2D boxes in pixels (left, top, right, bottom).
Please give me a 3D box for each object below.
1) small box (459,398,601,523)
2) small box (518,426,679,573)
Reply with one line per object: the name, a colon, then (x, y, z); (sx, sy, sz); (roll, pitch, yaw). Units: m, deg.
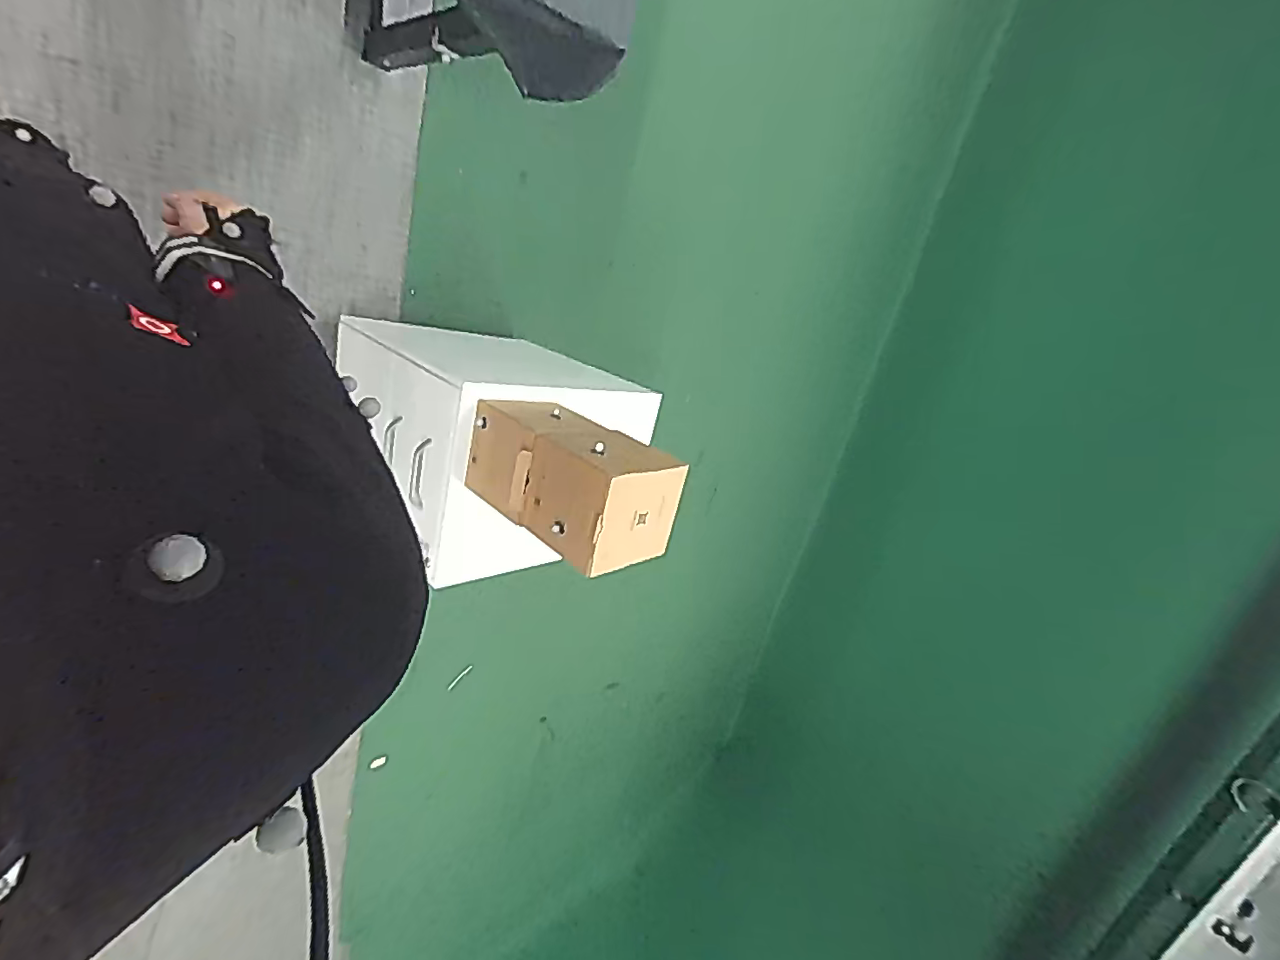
small box: (-0.194, -0.041, 0.951); (0.179, 0.176, 0.168); (-7, 119, -50)
small box: (-0.072, 0.021, 0.863); (0.179, 0.176, 0.168); (-11, 123, -49)
